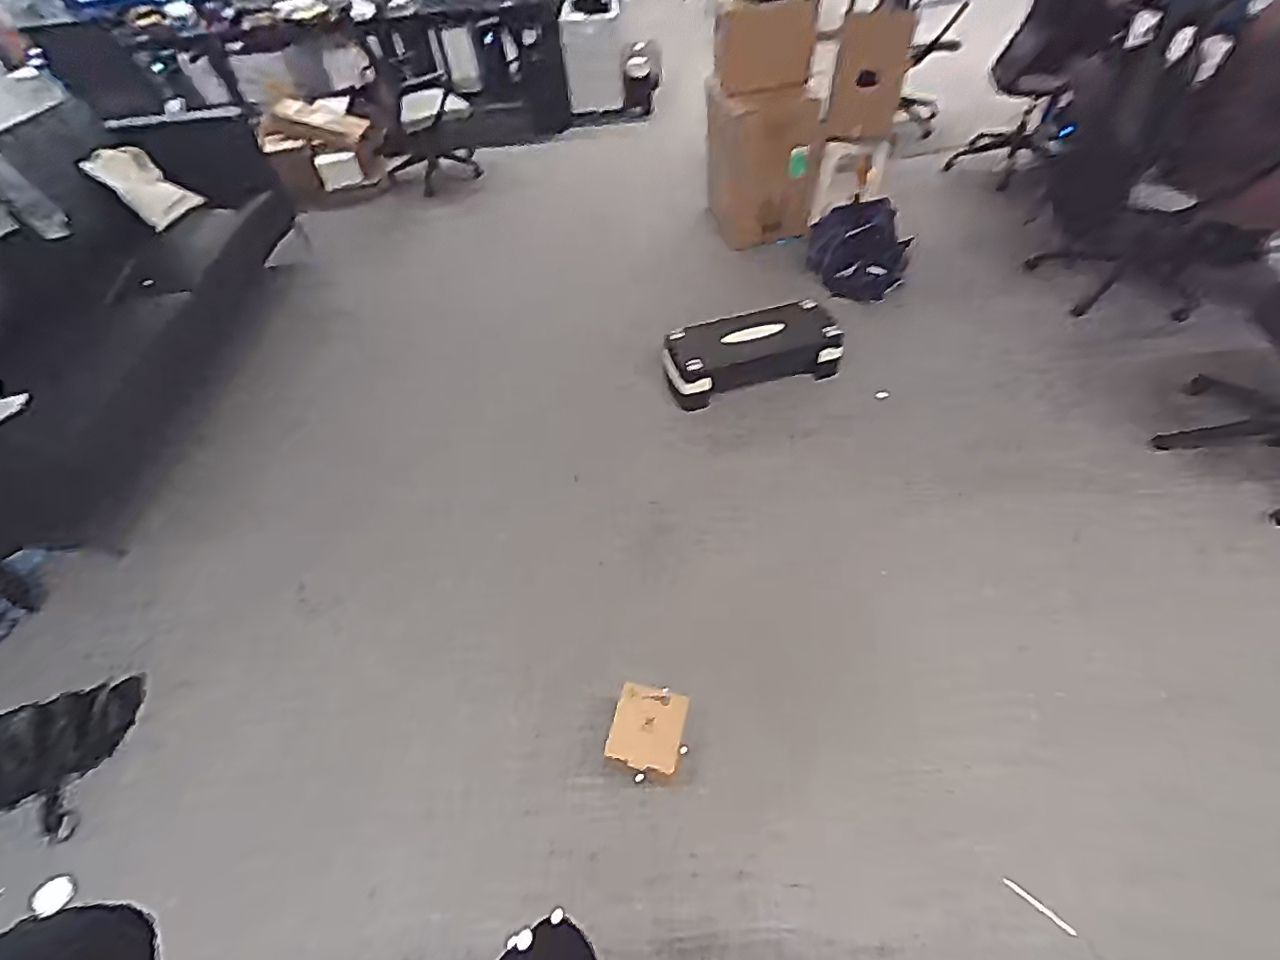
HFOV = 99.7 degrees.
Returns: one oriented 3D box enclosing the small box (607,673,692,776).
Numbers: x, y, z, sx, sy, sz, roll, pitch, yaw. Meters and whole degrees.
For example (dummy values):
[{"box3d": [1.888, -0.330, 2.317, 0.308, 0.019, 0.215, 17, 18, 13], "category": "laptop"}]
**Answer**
[{"box3d": [0.033, 0.604, 1.327, 0.168, 0.176, 0.179, 9, 54, 14], "category": "small box"}]
